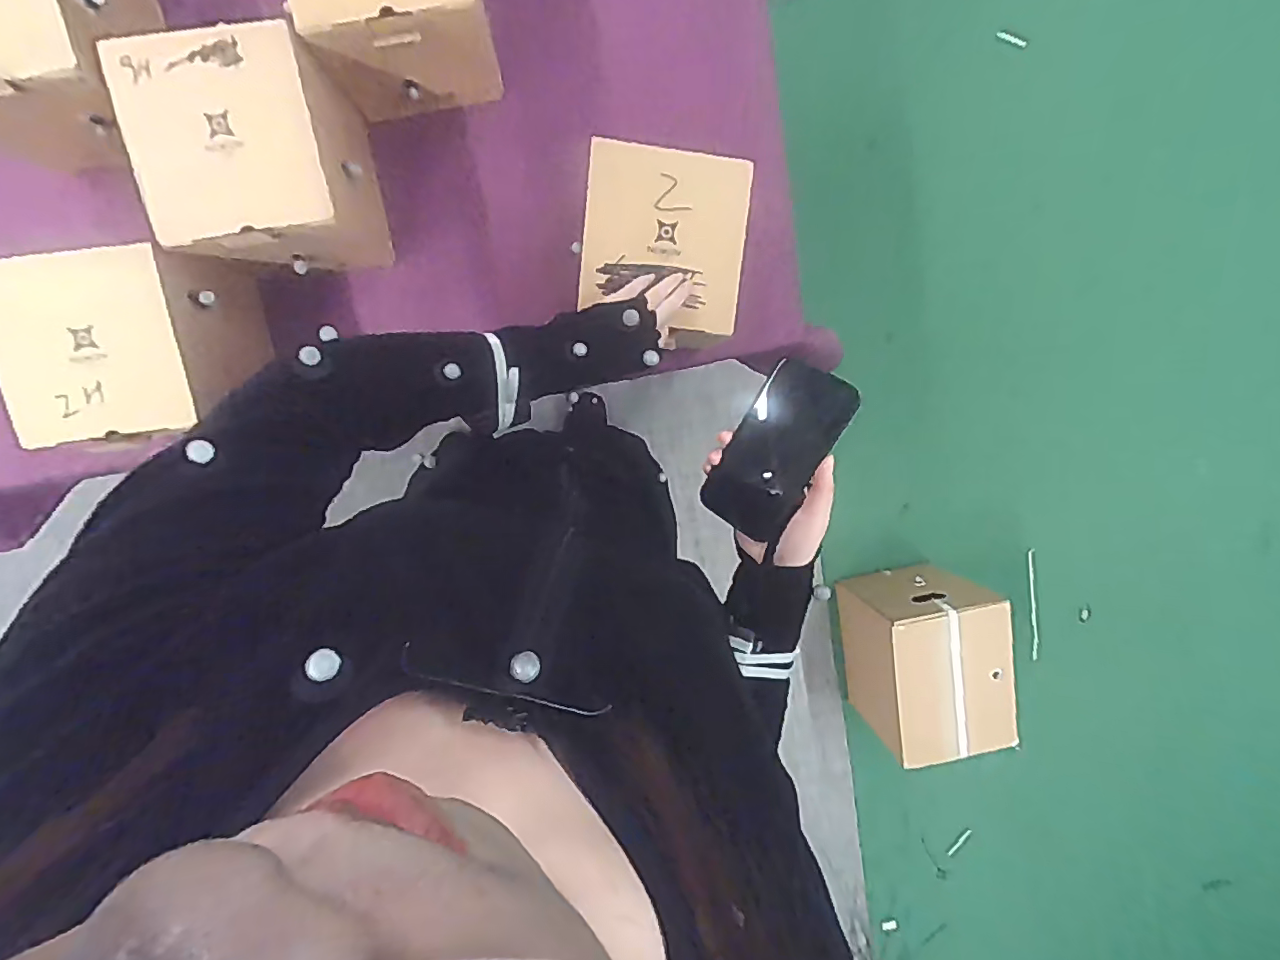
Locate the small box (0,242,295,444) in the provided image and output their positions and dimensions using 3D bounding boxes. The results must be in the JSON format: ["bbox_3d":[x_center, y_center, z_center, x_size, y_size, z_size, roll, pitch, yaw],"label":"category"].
[{"bbox_3d":[-0.522,-0.142,0.595,0.168,0.176,0.179,-8,100,-3],"label":"small box"}]

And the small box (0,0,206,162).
[{"bbox_3d":[-0.589,-0.442,0.539,0.168,0.176,0.179,-11,101,-4],"label":"small box"}]

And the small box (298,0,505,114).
[{"bbox_3d":[-0.248,-0.521,0.556,0.168,0.176,0.179,-13,102,-3],"label":"small box"}]
